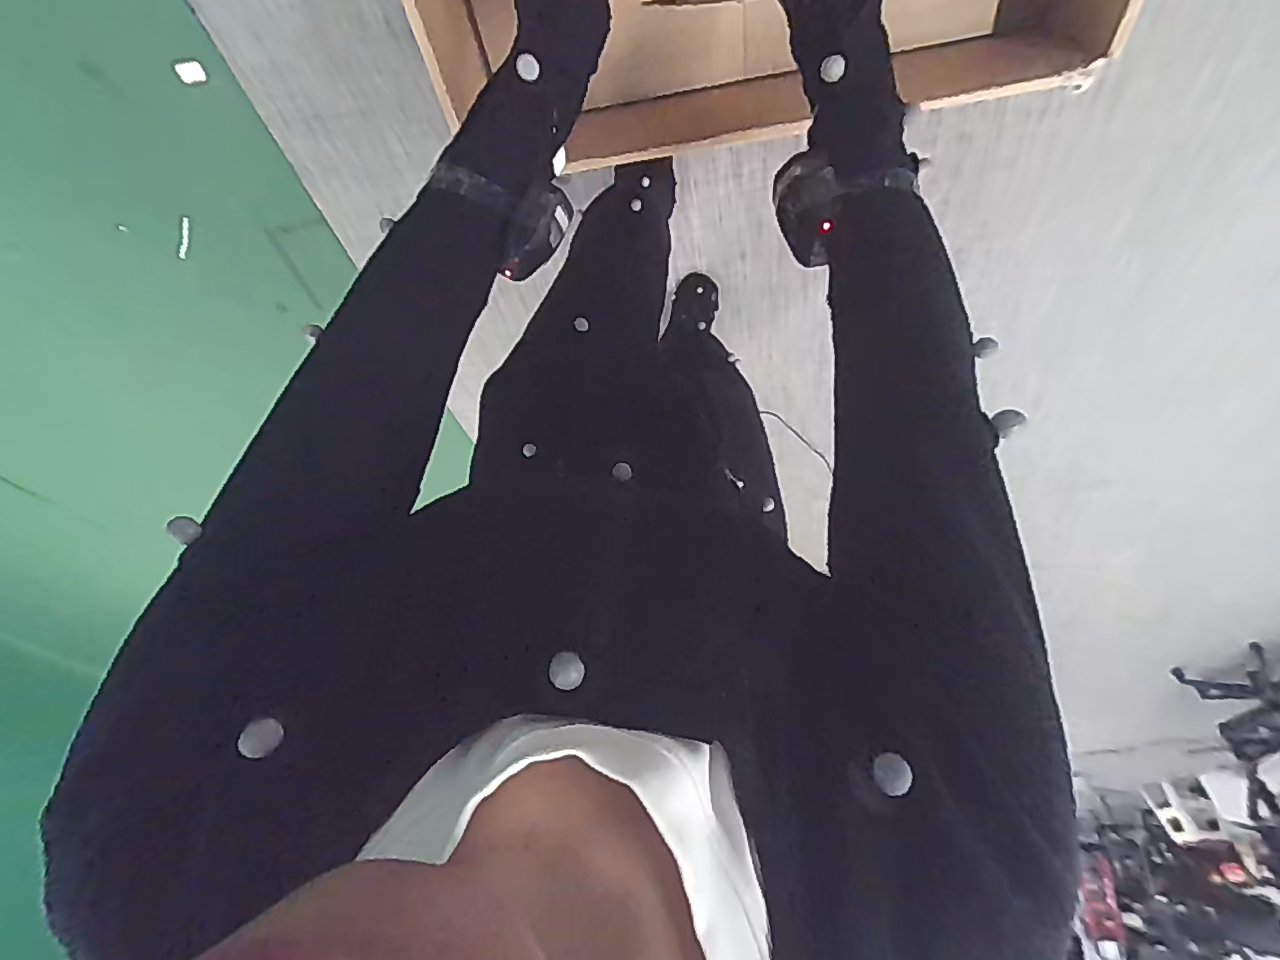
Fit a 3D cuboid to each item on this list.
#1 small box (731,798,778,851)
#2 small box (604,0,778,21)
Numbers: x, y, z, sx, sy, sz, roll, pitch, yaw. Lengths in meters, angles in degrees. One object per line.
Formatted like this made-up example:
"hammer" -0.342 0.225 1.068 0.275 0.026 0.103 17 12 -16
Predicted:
"small box" 0.471 1.420 2.229 0.168 0.176 0.179 -7 139 12
"small box" 0.049 -0.497 0.425 0.168 0.176 0.179 -3 138 6
